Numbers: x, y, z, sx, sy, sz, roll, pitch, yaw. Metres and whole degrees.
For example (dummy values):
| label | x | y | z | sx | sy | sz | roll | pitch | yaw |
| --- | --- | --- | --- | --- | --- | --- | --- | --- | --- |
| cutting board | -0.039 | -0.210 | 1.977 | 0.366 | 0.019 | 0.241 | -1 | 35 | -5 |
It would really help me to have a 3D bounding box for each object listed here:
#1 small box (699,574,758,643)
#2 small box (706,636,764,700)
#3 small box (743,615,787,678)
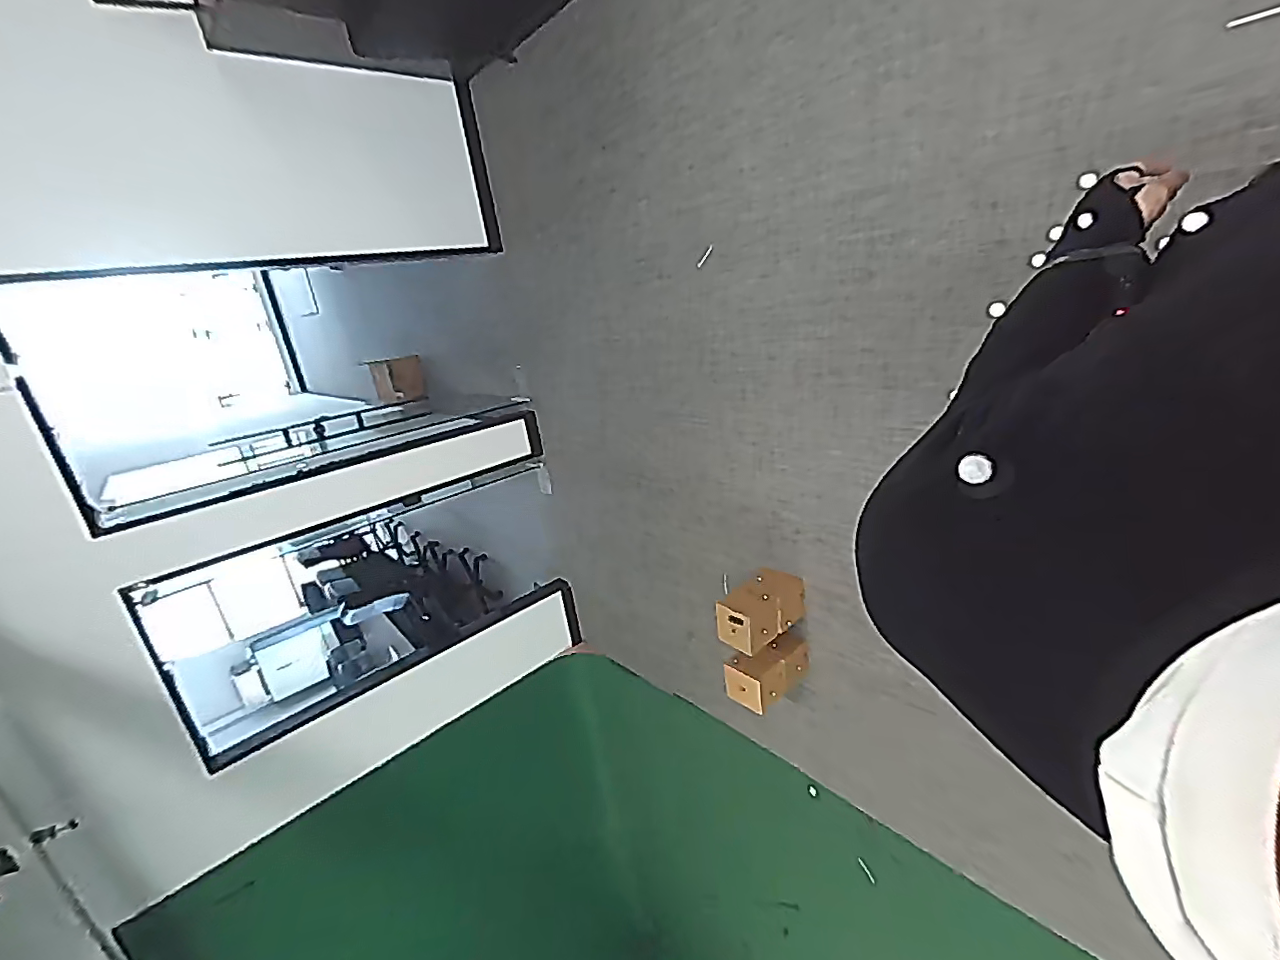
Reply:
| label | x | y | z | sx | sy | sz | roll | pitch | yaw |
| --- | --- | --- | --- | --- | --- | --- | --- | --- | --- |
| small box | 0.350 | 0.497 | 2.122 | 0.168 | 0.176 | 0.179 | 19 | 123 | 45 |
| small box | 0.395 | 0.751 | 2.205 | 0.179 | 0.176 | 0.168 | 14 | 119 | 46 |
| small box | 0.512 | 0.700 | 2.305 | 0.179 | 0.176 | 0.168 | 17 | 121 | 44 |
